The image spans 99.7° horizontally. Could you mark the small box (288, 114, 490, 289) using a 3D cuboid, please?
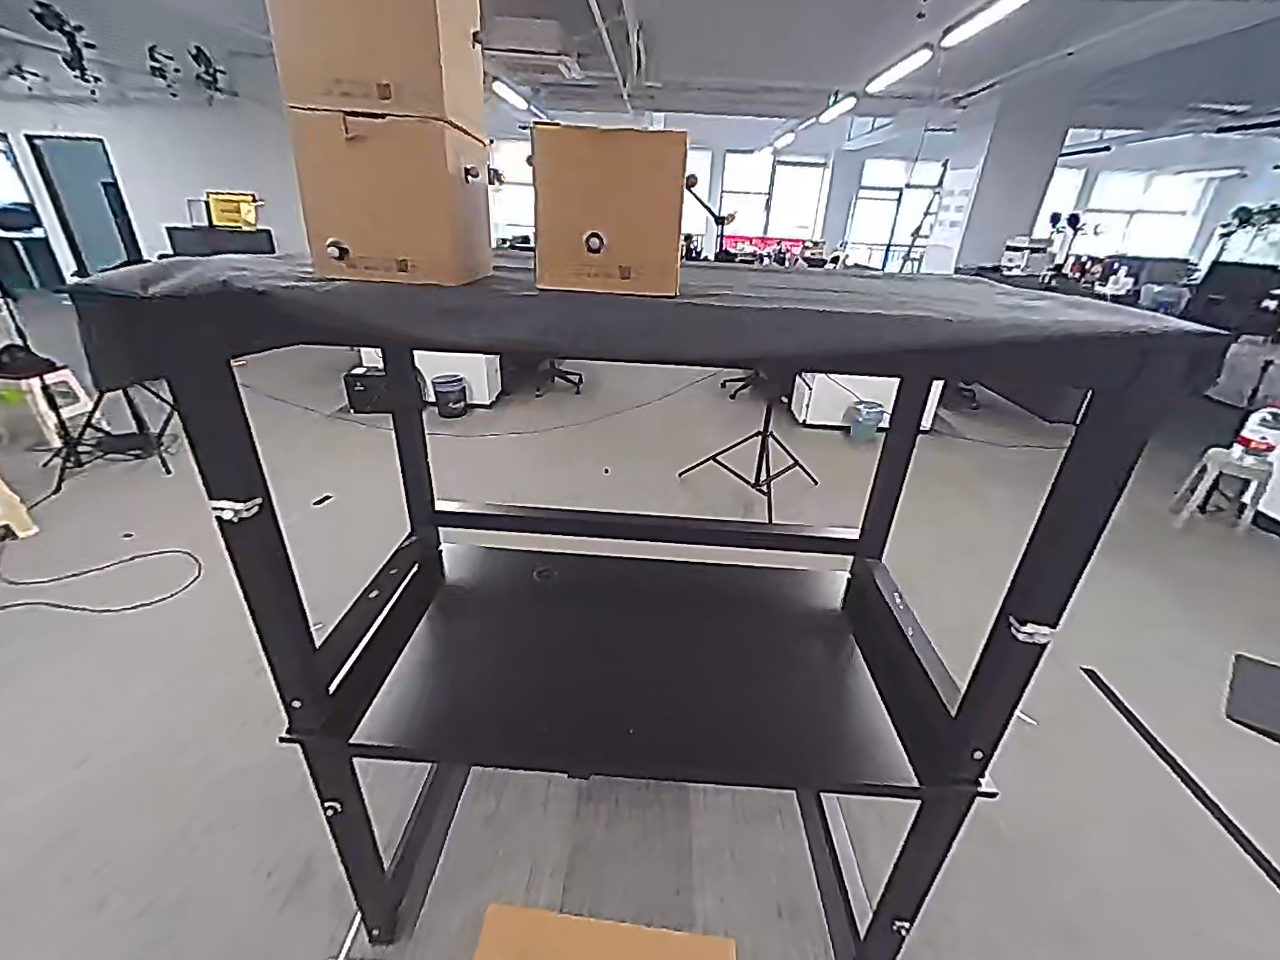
[{"bbox_3d":[-0.288,-0.334,0.669,0.168,0.176,0.179,3,24,-2],"label":"small box"}]

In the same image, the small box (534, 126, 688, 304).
[{"bbox_3d":[-0.032,-0.320,0.670,0.168,0.176,0.179,3,24,1],"label":"small box"}]
